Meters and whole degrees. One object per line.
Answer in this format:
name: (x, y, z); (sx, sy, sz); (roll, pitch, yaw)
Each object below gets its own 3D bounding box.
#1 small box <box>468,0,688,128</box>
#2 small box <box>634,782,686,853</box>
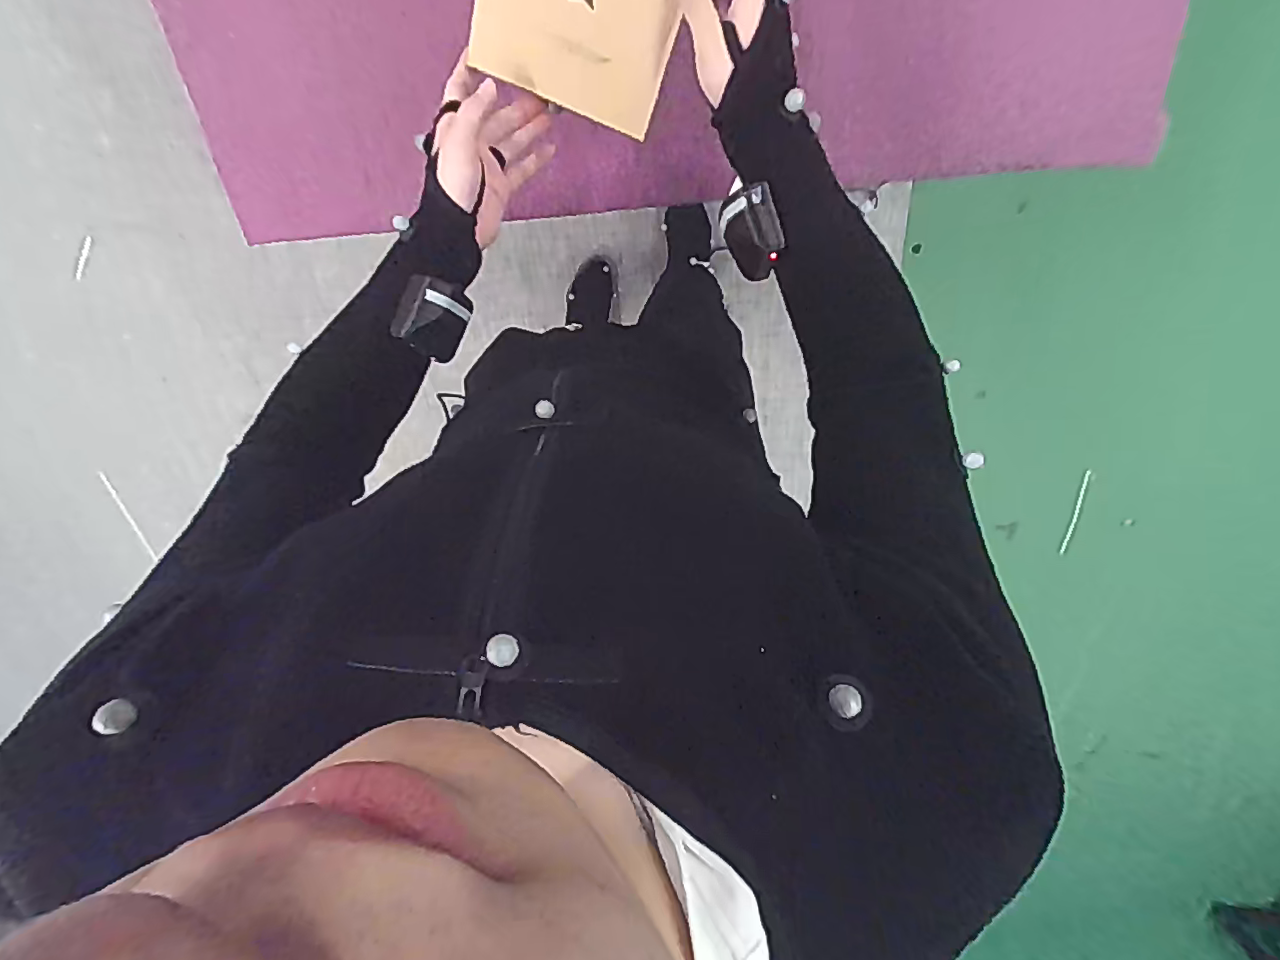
small box: (-0.040, -0.456, 0.494); (0.168, 0.176, 0.179); (18, 124, -10)
small box: (0.078, 1.292, 2.078); (0.179, 0.176, 0.168); (7, 119, -1)
